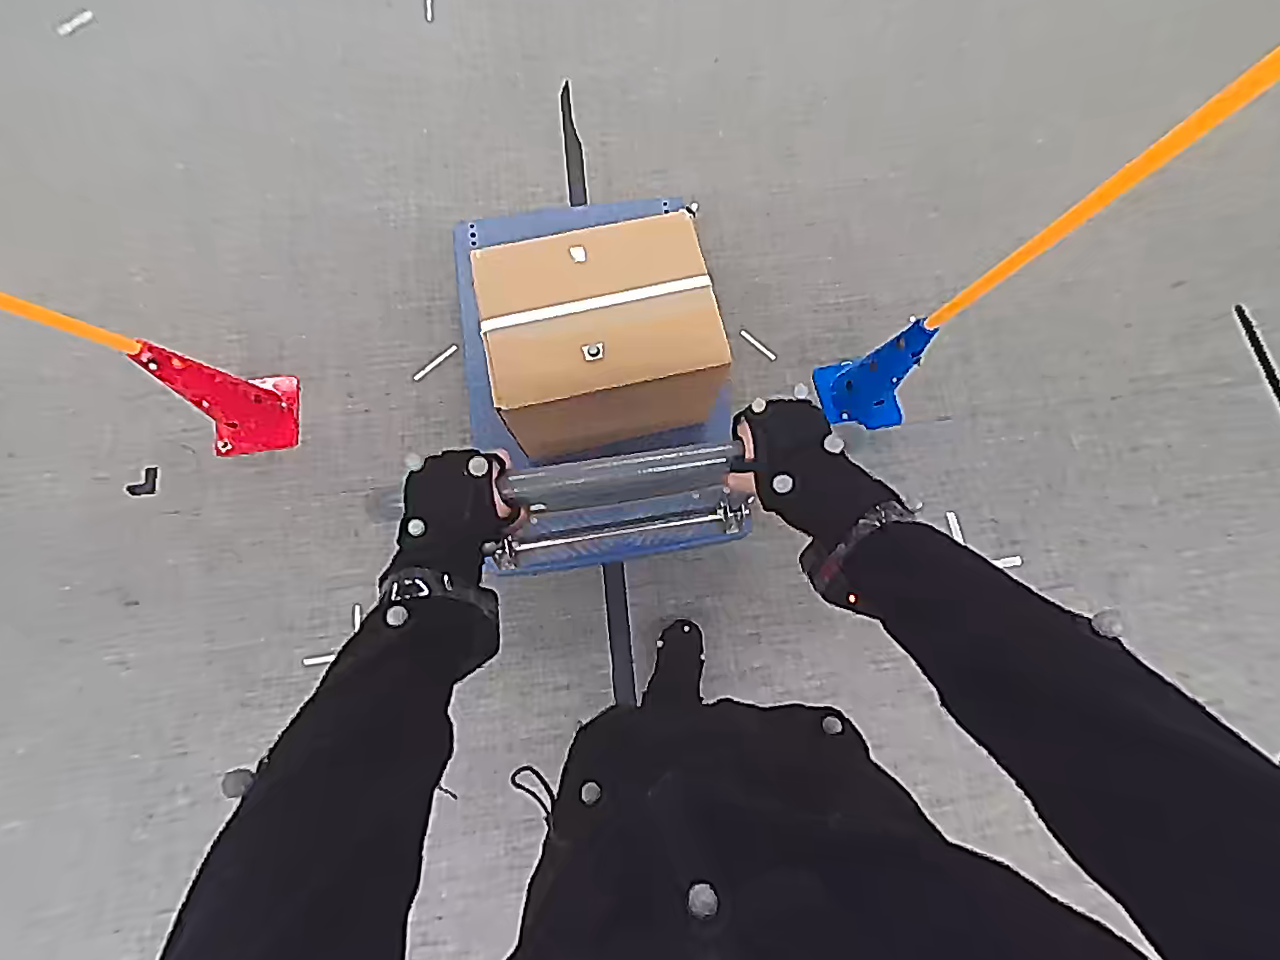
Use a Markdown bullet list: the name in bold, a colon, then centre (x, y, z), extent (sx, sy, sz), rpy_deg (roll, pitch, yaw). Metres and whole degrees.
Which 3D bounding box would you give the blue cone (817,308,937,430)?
- **blue cone**: centre (0.582, -0.271, 1.265), extent (0.193, 0.380, 0.192), rpy_deg (-10, 75, -4)
